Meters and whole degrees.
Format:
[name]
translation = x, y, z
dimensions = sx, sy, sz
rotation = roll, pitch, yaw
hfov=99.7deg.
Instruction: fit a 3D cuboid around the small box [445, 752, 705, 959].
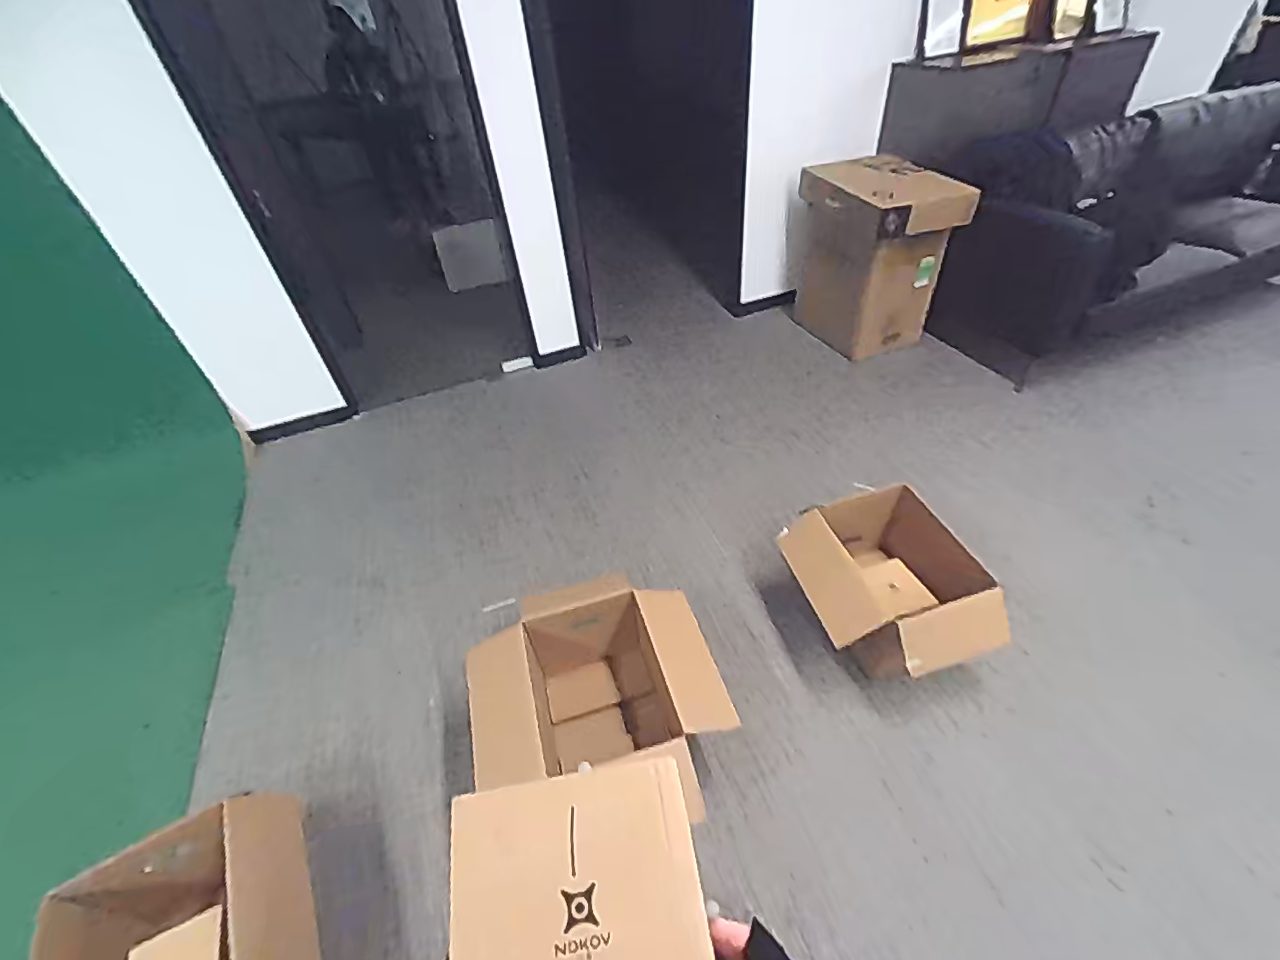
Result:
[small box]
translation = -0.044, 0.330, 0.419
dimensions = 0.168, 0.176, 0.179
rotation = -8, 56, -7
